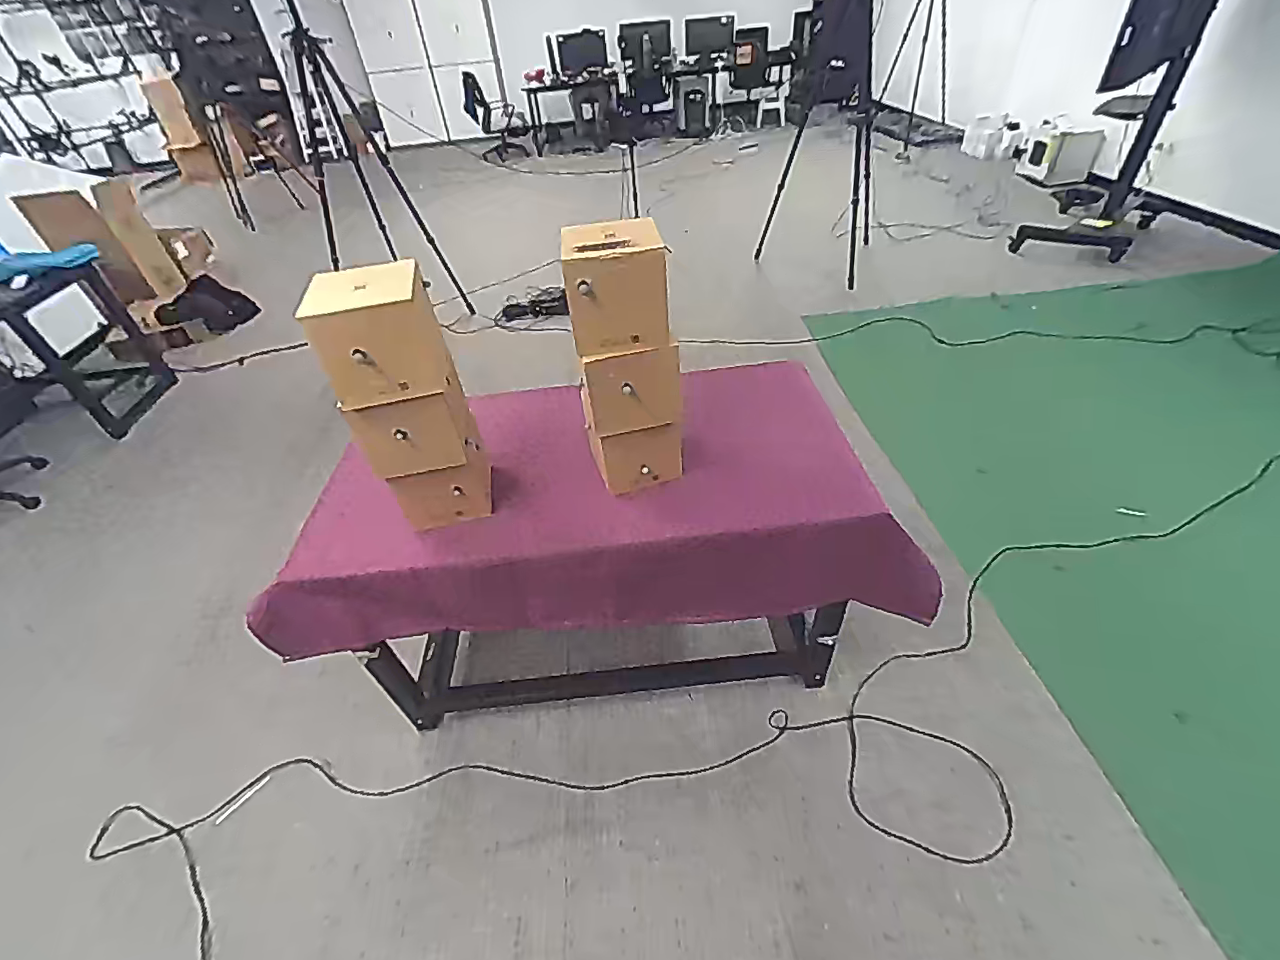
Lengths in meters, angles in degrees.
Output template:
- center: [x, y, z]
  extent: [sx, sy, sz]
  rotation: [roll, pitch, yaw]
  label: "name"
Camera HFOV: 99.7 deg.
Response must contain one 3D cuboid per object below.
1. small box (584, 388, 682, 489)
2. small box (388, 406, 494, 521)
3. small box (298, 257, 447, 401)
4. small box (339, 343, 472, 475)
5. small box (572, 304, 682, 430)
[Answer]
- center: [-0.015, -0.108, 1.174]
  extent: [0.168, 0.176, 0.179]
  rotation: [-16, 43, -9]
  label: "small box"
- center: [-0.412, -0.029, 1.147]
  extent: [0.168, 0.176, 0.179]
  rotation: [-11, 42, -5]
  label: "small box"
- center: [-0.429, -0.245, 0.901]
  extent: [0.168, 0.176, 0.179]
  rotation: [-14, 42, -8]
  label: "small box"
- center: [-0.425, -0.132, 1.018]
  extent: [0.179, 0.176, 0.168]
  rotation: [-11, 42, -5]
  label: "small box"
- center: [-0.024, -0.216, 1.050]
  extent: [0.179, 0.176, 0.168]
  rotation: [-12, 43, -5]
  label: "small box"
